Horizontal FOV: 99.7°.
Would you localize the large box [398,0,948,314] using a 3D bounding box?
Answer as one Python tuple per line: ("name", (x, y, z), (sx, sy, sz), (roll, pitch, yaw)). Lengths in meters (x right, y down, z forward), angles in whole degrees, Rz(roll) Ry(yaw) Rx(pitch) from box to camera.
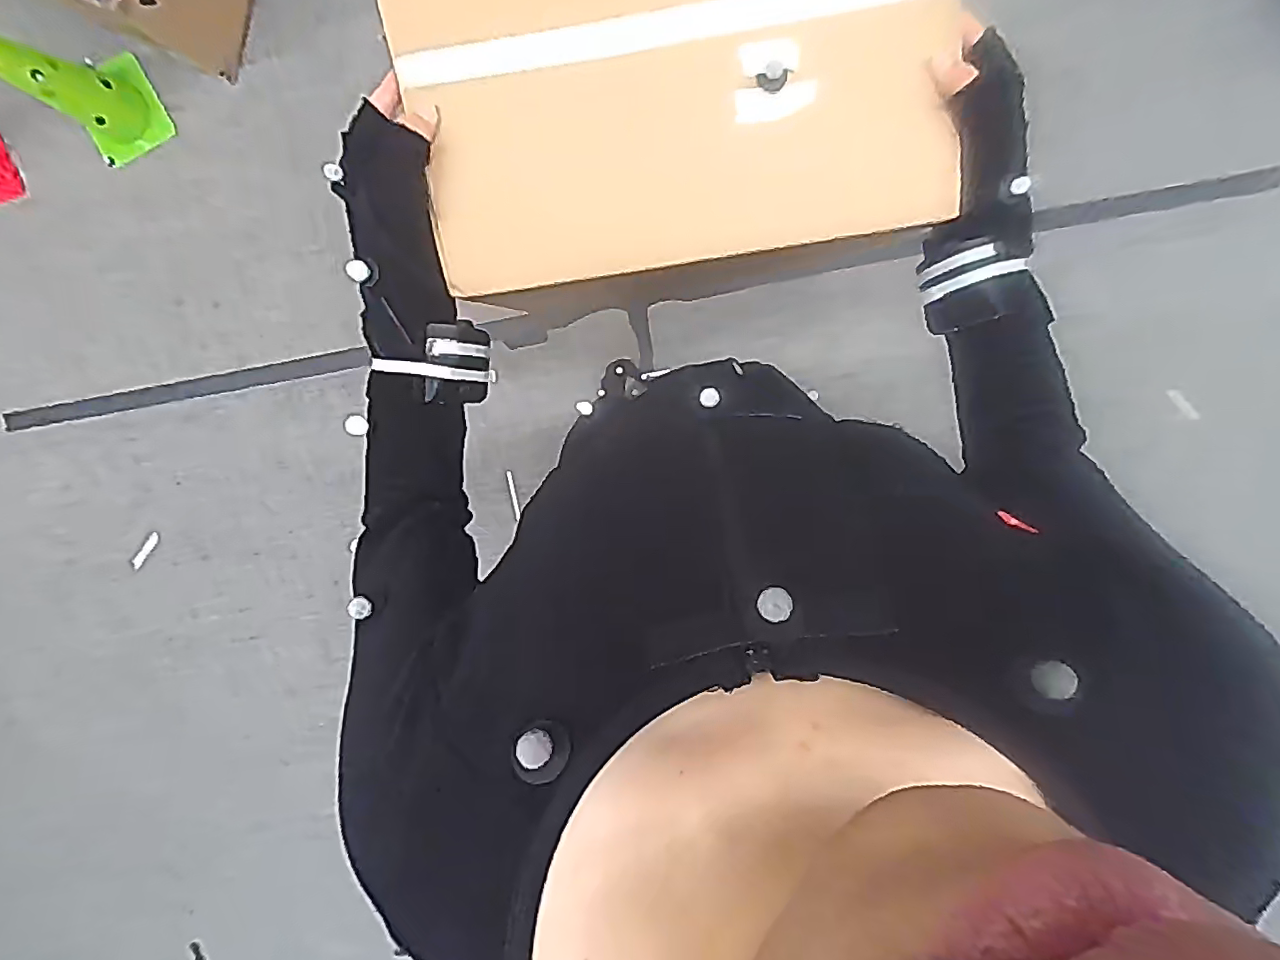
("large box", (0.023, -0.366, 0.545), (0.408, 0.320, 0.320), (-8, 104, 1))
